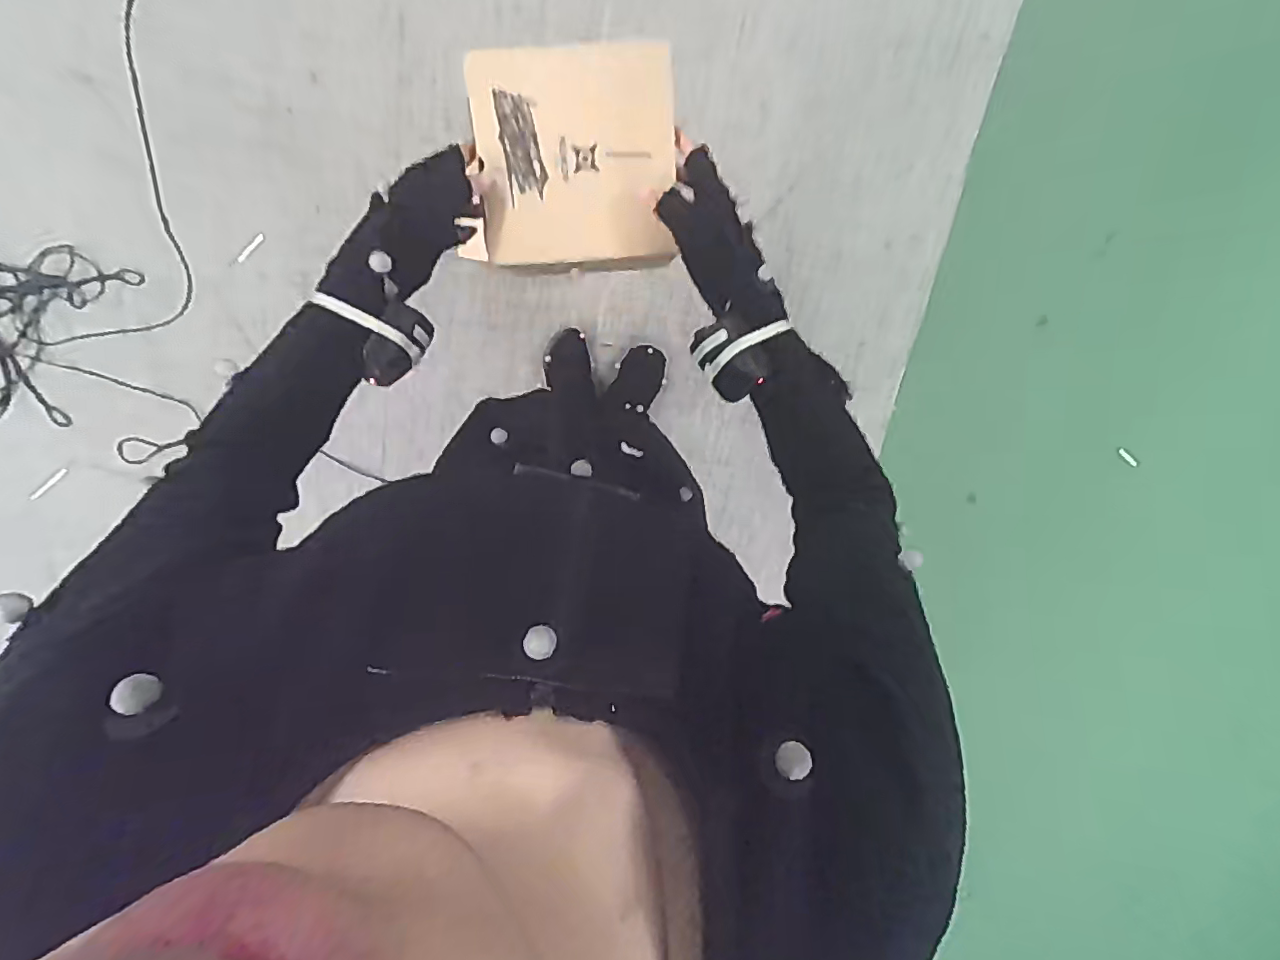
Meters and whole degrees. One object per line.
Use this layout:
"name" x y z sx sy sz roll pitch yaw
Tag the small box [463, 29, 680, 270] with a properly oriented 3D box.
"small box" -0.056 -0.306 0.537 0.179 0.176 0.168 -4 107 -1
